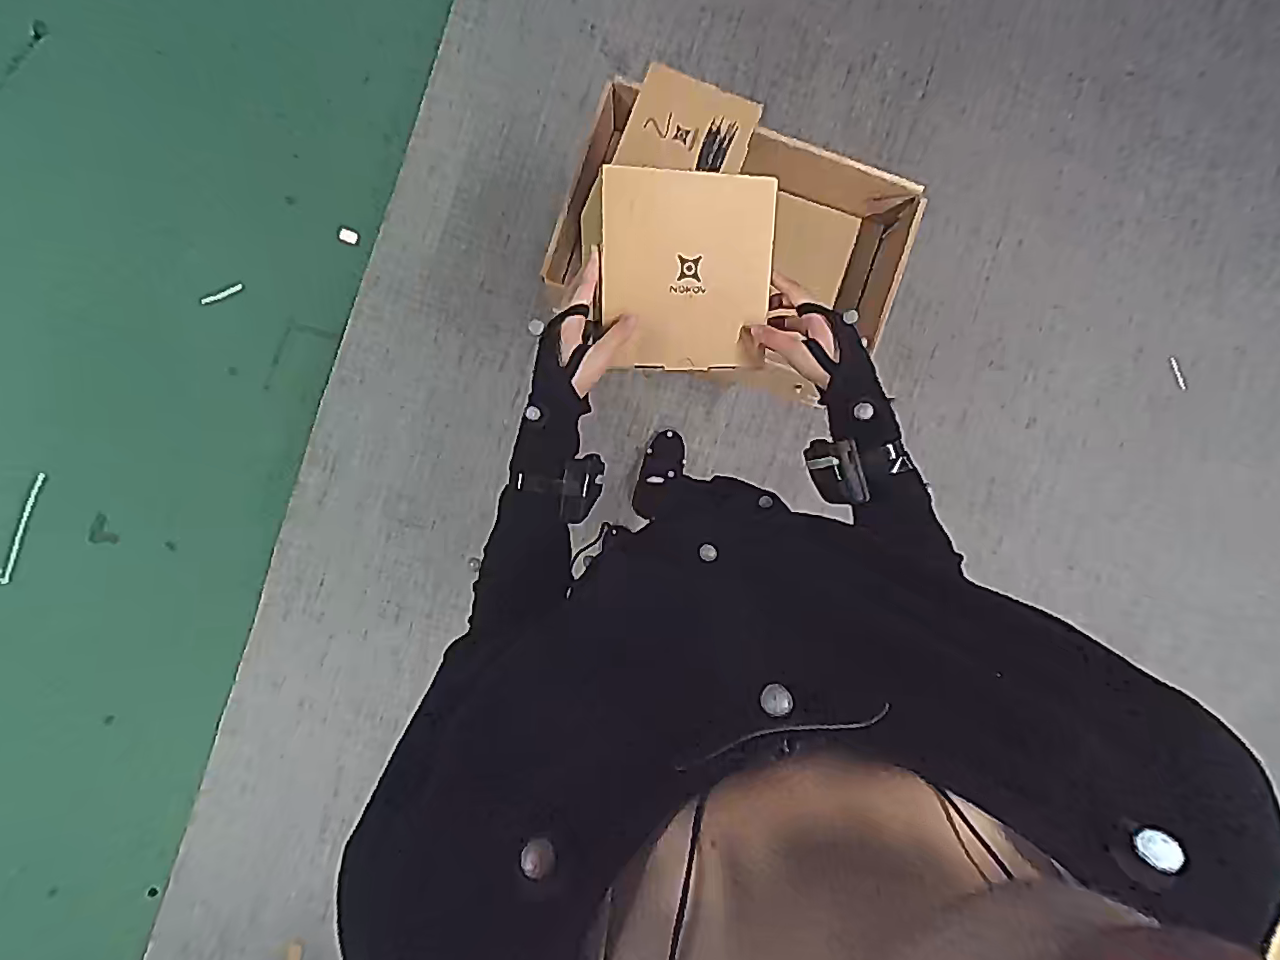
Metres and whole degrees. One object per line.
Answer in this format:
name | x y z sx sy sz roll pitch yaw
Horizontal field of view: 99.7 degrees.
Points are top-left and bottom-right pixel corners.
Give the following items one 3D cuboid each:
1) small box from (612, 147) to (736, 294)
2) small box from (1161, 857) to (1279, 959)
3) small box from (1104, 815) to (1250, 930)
small box | 0.057 -0.469 1.011 0.179 0.176 0.168 20 89 -1
small box | 1.247 0.937 1.118 0.168 0.176 0.179 15 89 -1
small box | 1.259 0.940 1.281 0.168 0.176 0.179 17 89 0
